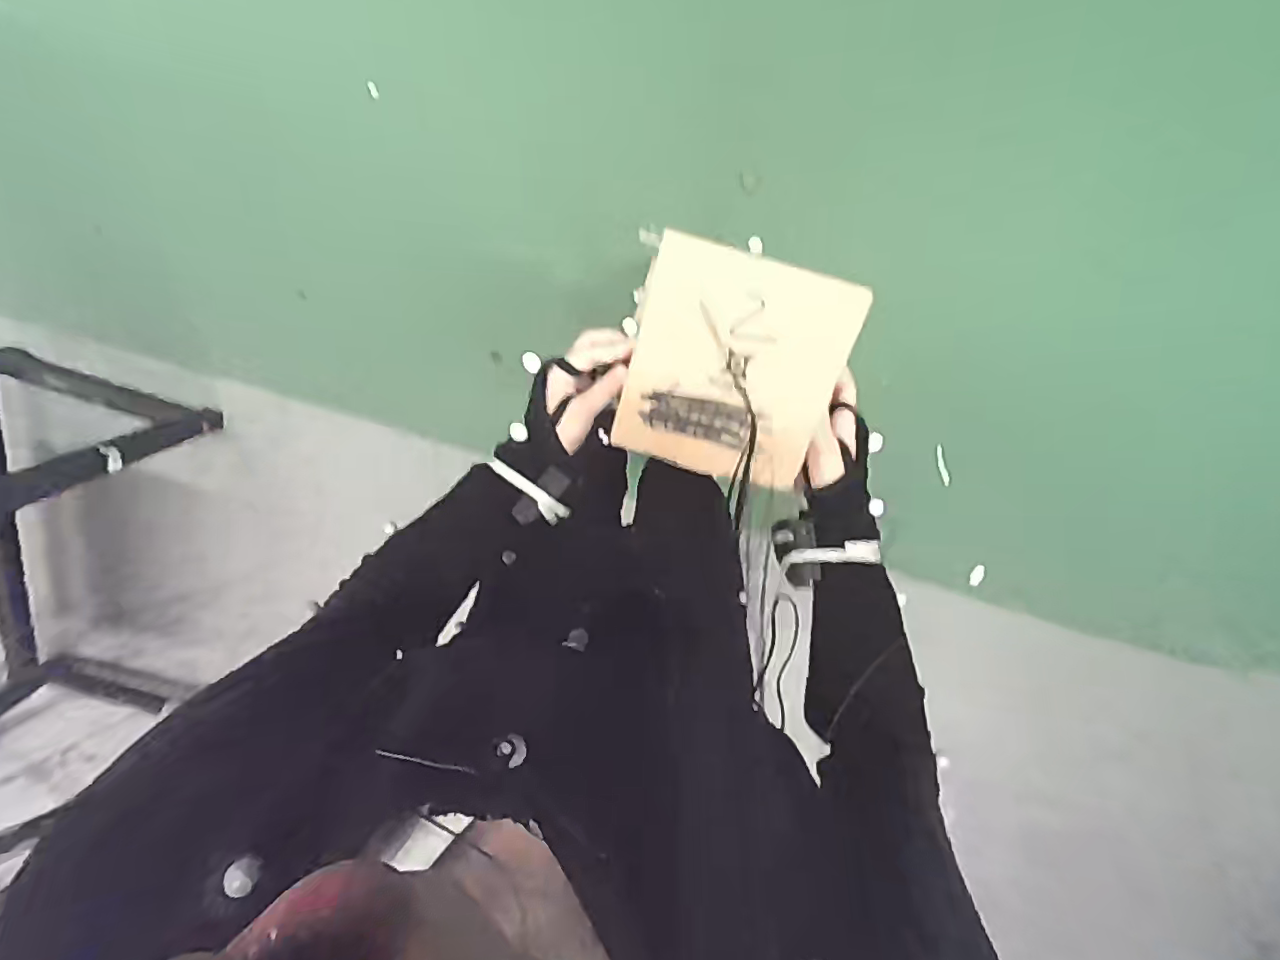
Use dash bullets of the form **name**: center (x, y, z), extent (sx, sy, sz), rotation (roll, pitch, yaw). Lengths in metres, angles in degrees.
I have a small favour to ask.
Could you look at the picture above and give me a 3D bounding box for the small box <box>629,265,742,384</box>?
- **small box**: center (0.087, -0.316, 1.081), extent (0.168, 0.176, 0.179), rotation (20, 112, -3)
